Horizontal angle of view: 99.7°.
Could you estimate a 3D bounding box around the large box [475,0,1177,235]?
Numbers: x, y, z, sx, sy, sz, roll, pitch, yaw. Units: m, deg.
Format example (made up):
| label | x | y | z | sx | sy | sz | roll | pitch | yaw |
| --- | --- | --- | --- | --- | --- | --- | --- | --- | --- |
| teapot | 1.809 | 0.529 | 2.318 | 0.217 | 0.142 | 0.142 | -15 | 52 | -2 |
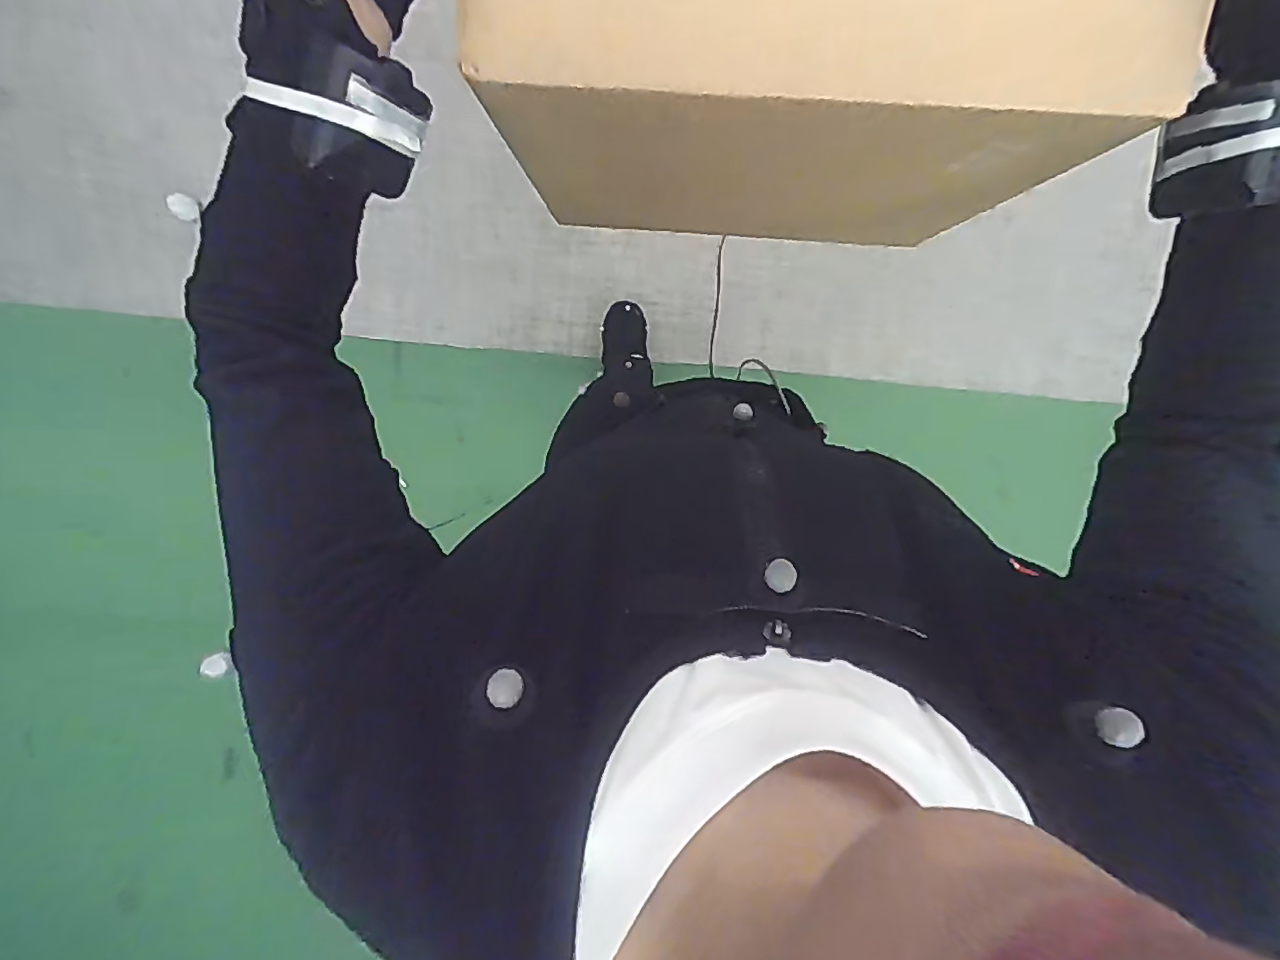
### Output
| label | x | y | z | sx | sy | sz | roll | pitch | yaw |
| --- | --- | --- | --- | --- | --- | --- | --- | --- | --- |
| large box | 0.109 | -0.402 | 0.433 | 0.408 | 0.320 | 0.320 | 3 | 102 | 1 |
